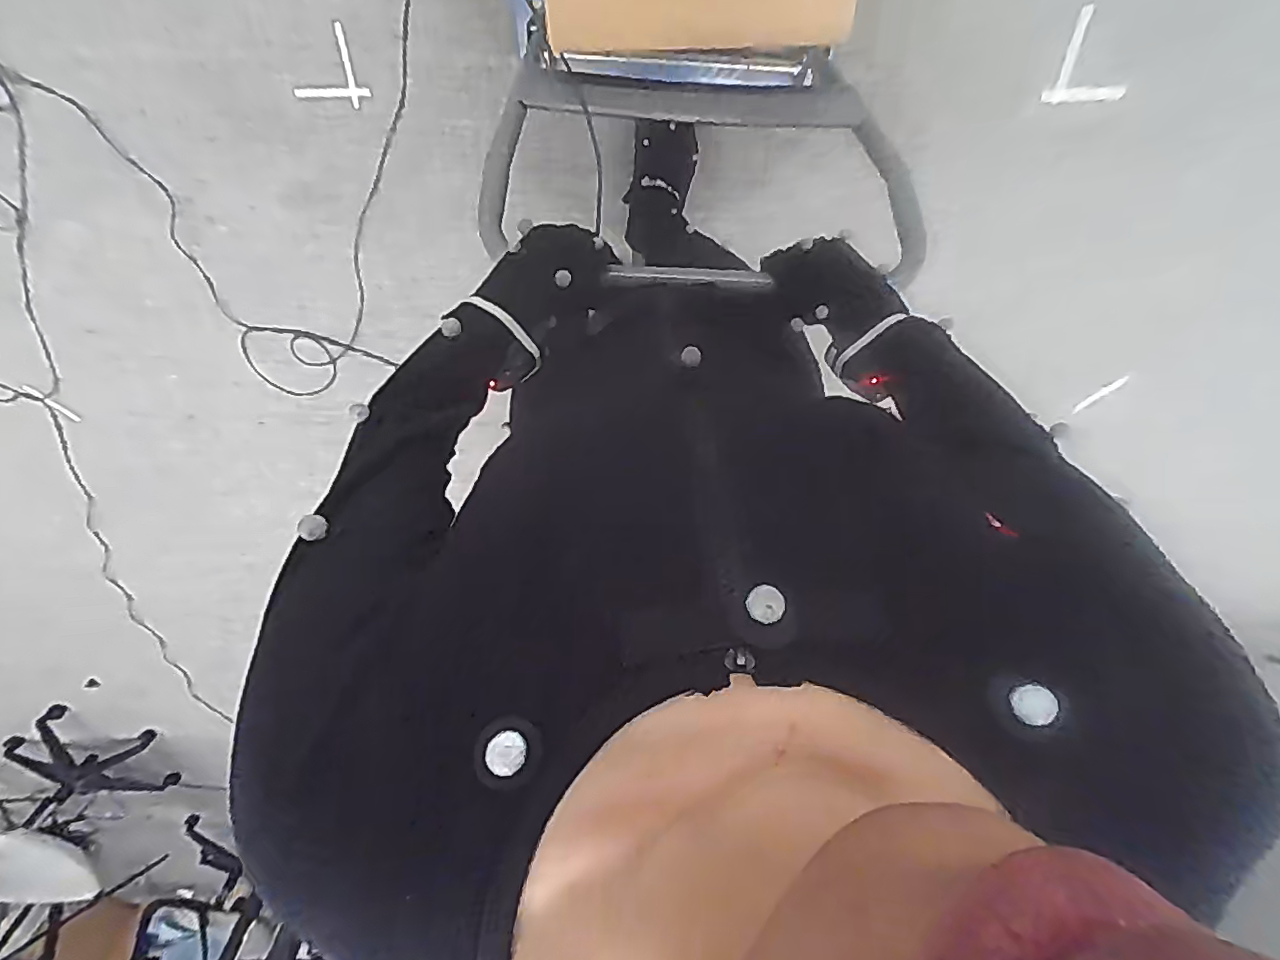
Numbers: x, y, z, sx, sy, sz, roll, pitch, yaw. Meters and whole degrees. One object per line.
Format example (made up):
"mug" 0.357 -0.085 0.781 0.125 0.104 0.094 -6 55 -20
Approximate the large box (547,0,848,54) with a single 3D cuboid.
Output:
"large box" 0.067 -0.811 0.725 0.408 0.320 0.320 -2 140 0
